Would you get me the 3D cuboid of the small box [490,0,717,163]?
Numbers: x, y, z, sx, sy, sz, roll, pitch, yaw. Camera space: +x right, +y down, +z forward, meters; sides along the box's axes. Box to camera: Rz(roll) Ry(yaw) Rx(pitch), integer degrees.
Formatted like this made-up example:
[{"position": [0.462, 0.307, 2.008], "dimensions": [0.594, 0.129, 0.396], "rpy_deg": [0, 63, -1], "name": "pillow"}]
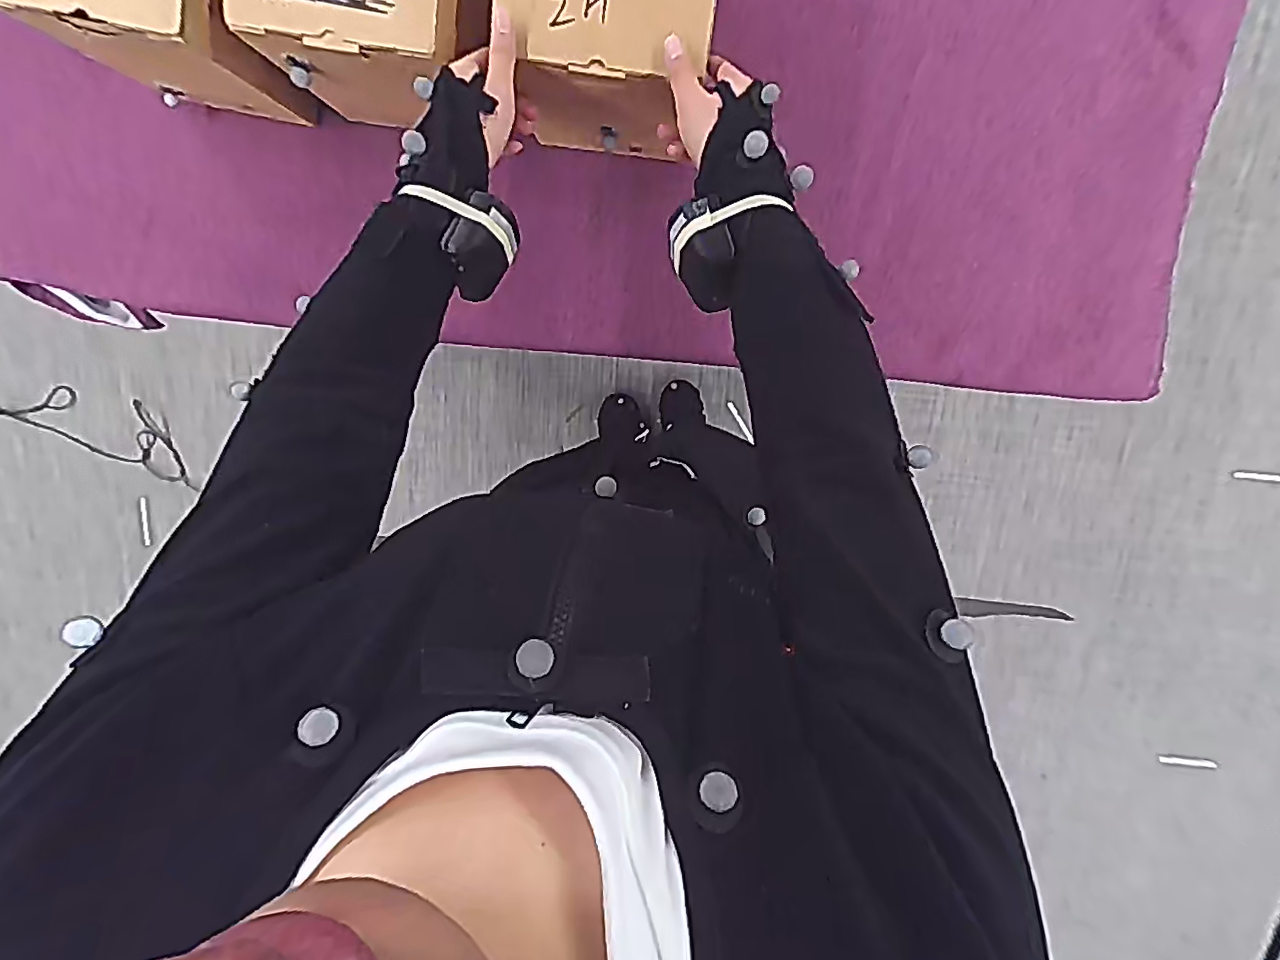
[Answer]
[{"position": [-0.018, -0.410, 0.469], "dimensions": [0.168, 0.176, 0.179], "rpy_deg": [8, 102, 2], "name": "small box"}]
